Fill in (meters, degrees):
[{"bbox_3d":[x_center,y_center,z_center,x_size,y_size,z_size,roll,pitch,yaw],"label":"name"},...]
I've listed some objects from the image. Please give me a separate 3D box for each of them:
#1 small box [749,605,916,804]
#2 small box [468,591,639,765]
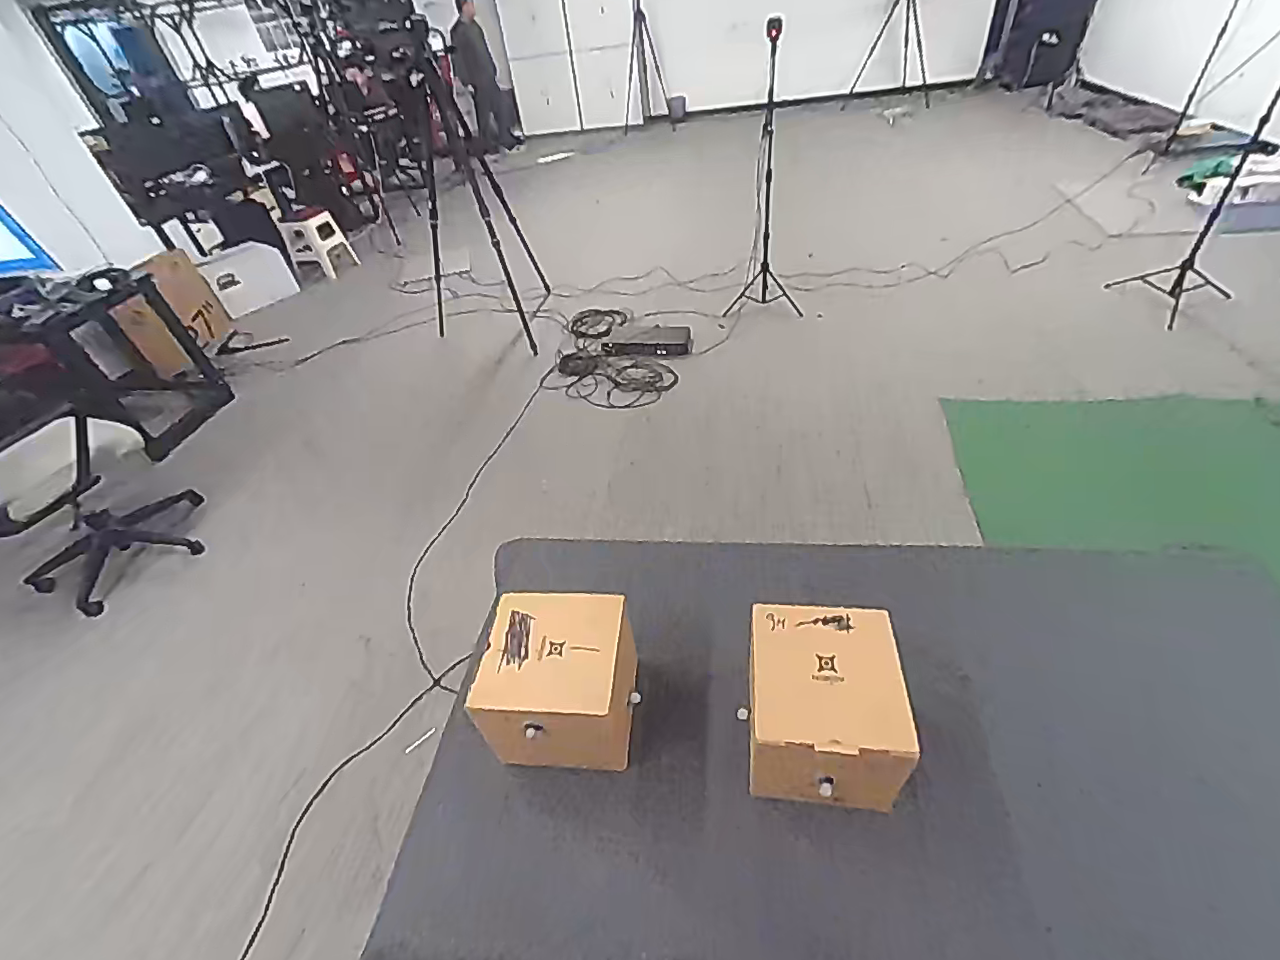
[{"bbox_3d":[0.223,0.279,0.673,0.168,0.176,0.179,1,43,10],"label":"small box"},{"bbox_3d":[-0.102,0.270,0.736,0.179,0.176,0.168,0,43,8],"label":"small box"}]
